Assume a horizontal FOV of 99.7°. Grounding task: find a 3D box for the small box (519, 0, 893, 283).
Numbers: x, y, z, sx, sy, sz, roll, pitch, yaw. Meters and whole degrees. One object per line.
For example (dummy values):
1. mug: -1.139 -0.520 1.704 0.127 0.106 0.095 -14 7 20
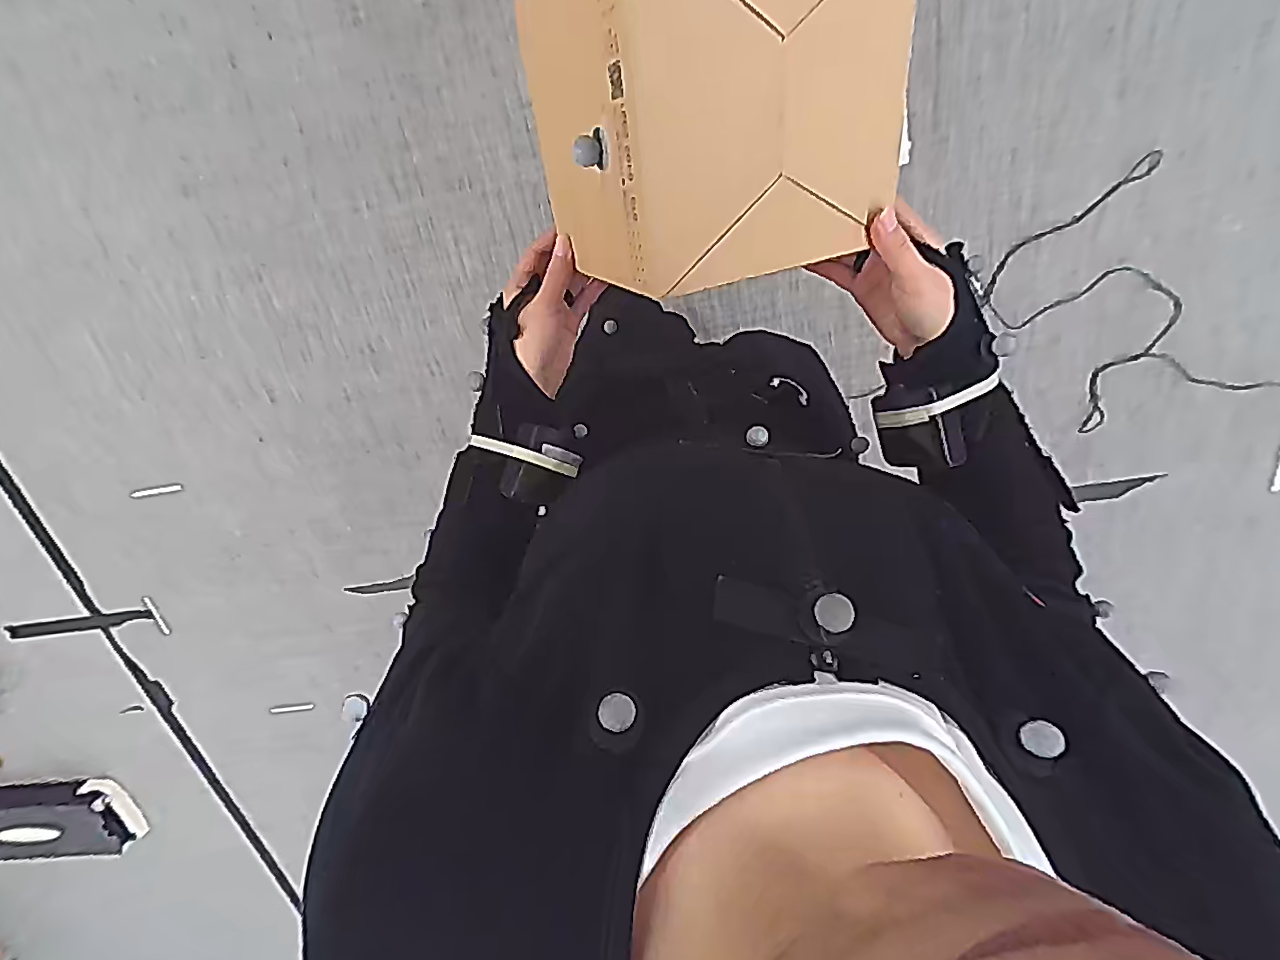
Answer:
1. small box: 0.042 -0.236 0.355 0.179 0.176 0.168 -20 123 -19
